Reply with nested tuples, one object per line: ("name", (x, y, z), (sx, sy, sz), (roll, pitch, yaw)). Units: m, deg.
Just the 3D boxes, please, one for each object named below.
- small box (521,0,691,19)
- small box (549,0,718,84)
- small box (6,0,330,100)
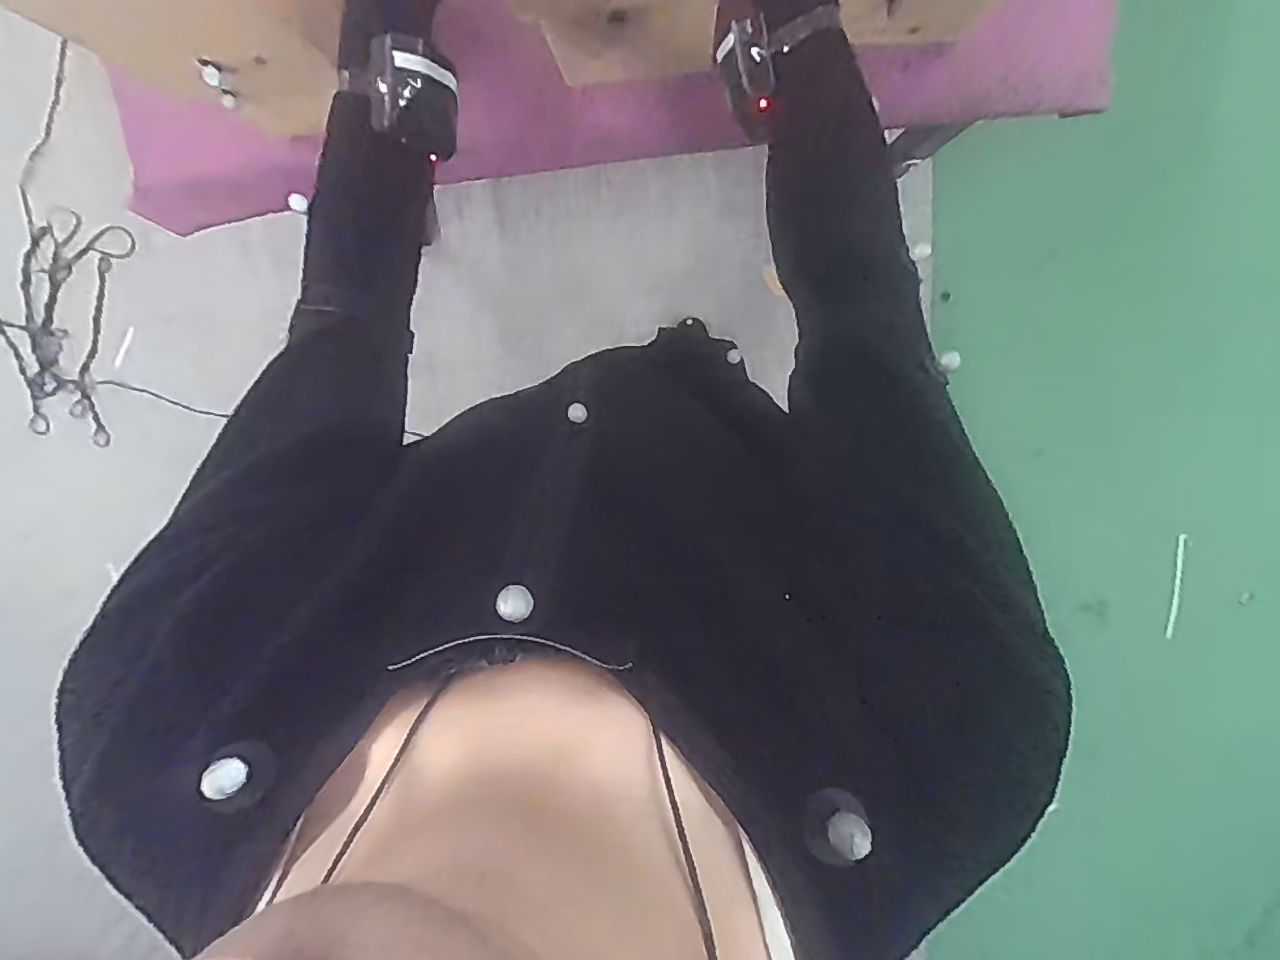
("small box", (-0.032, -0.483, 0.395), (0.179, 0.176, 0.168), (-3, 104, 5))
("small box", (-0.010, -0.535, 0.549), (0.179, 0.176, 0.168), (-2, 103, 4))
("small box", (-0.388, -0.447, 0.427), (0.168, 0.176, 0.179), (-8, 103, 6))
